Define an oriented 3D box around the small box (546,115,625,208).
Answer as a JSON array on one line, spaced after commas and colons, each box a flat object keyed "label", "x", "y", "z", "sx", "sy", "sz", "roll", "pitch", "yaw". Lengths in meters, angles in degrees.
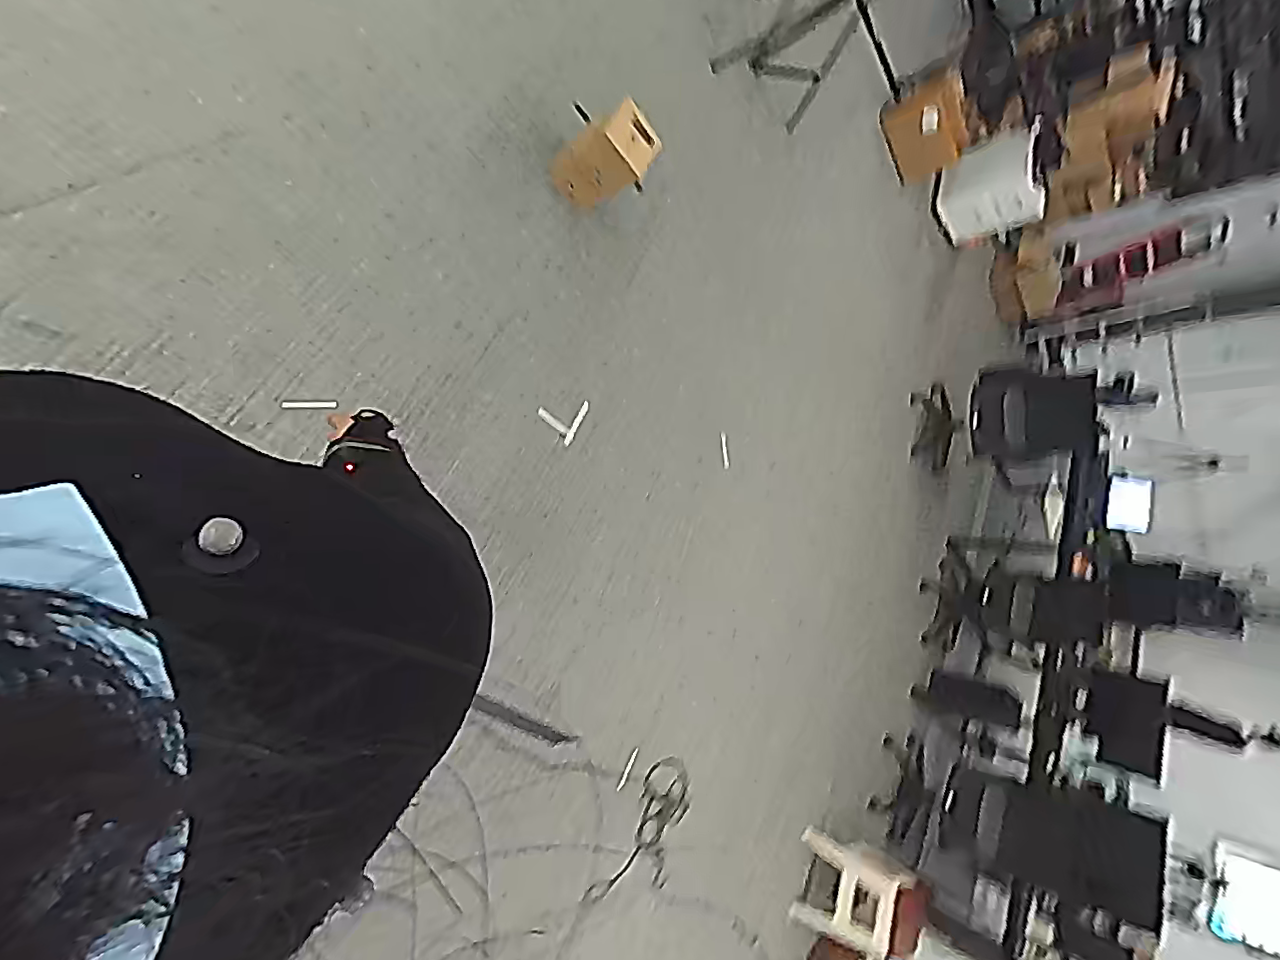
[{"label": "small box", "x": -0.186, "y": -1.057, "z": 1.806, "sx": 0.168, "sy": 0.176, "sz": 0.179, "roll": 36, "pitch": 67, "yaw": -35}]
